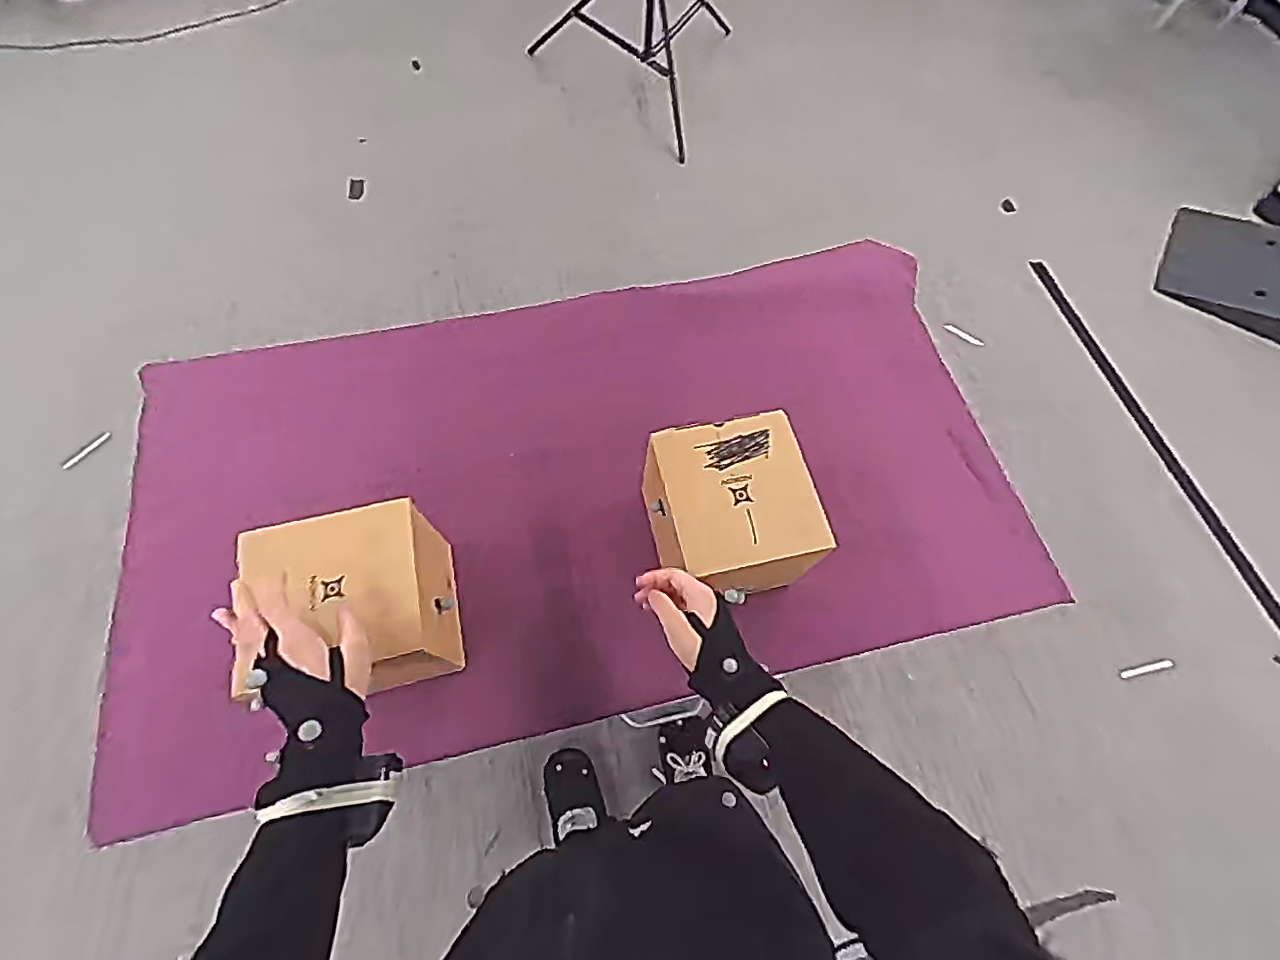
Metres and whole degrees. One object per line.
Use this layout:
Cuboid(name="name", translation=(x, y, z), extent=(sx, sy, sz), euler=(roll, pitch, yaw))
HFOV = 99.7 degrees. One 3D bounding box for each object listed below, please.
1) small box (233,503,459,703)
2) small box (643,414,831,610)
Cuboid(name="small box", translation=(-0.316, 0.146, 0.614), extent=(0.179, 0.176, 0.168), euler=(-13, 67, -7))
Cuboid(name="small box", translation=(0.102, 0.045, 0.671), extent=(0.168, 0.176, 0.179), euler=(-11, 67, -8))
